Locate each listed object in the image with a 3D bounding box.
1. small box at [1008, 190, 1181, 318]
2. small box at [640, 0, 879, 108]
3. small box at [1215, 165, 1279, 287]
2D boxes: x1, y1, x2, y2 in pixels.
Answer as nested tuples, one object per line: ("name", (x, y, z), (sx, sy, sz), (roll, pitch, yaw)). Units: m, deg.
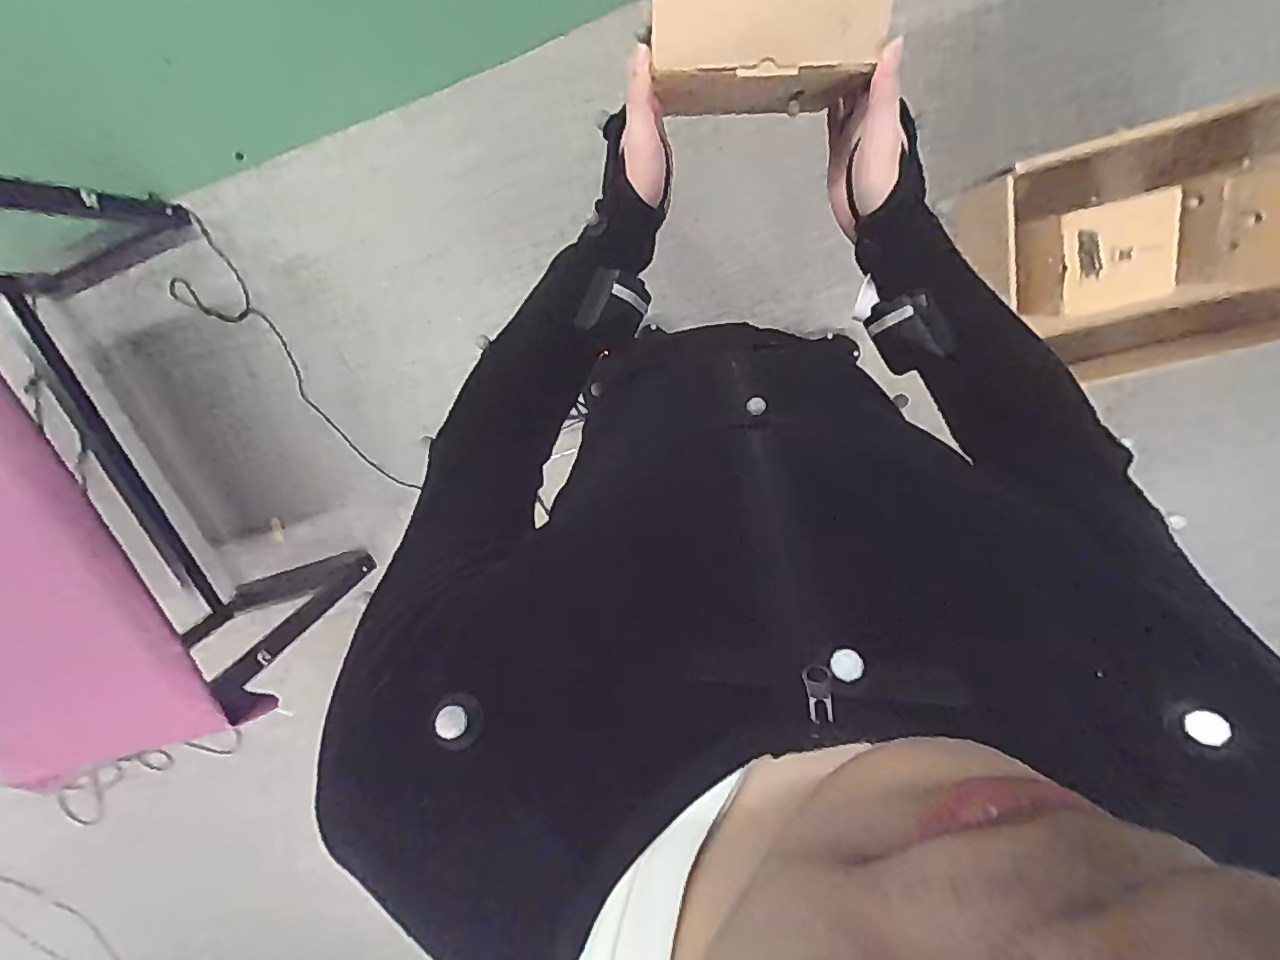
("small box", (0.782, -0.388, 0.953), (0.179, 0.176, 0.168), (-12, 108, 7))
("small box", (0.086, -0.406, 0.422), (0.168, 0.176, 0.179), (0, 115, 2))
("small box", (1.002, -0.380, 0.771), (0.179, 0.176, 0.168), (-11, 108, 10))
